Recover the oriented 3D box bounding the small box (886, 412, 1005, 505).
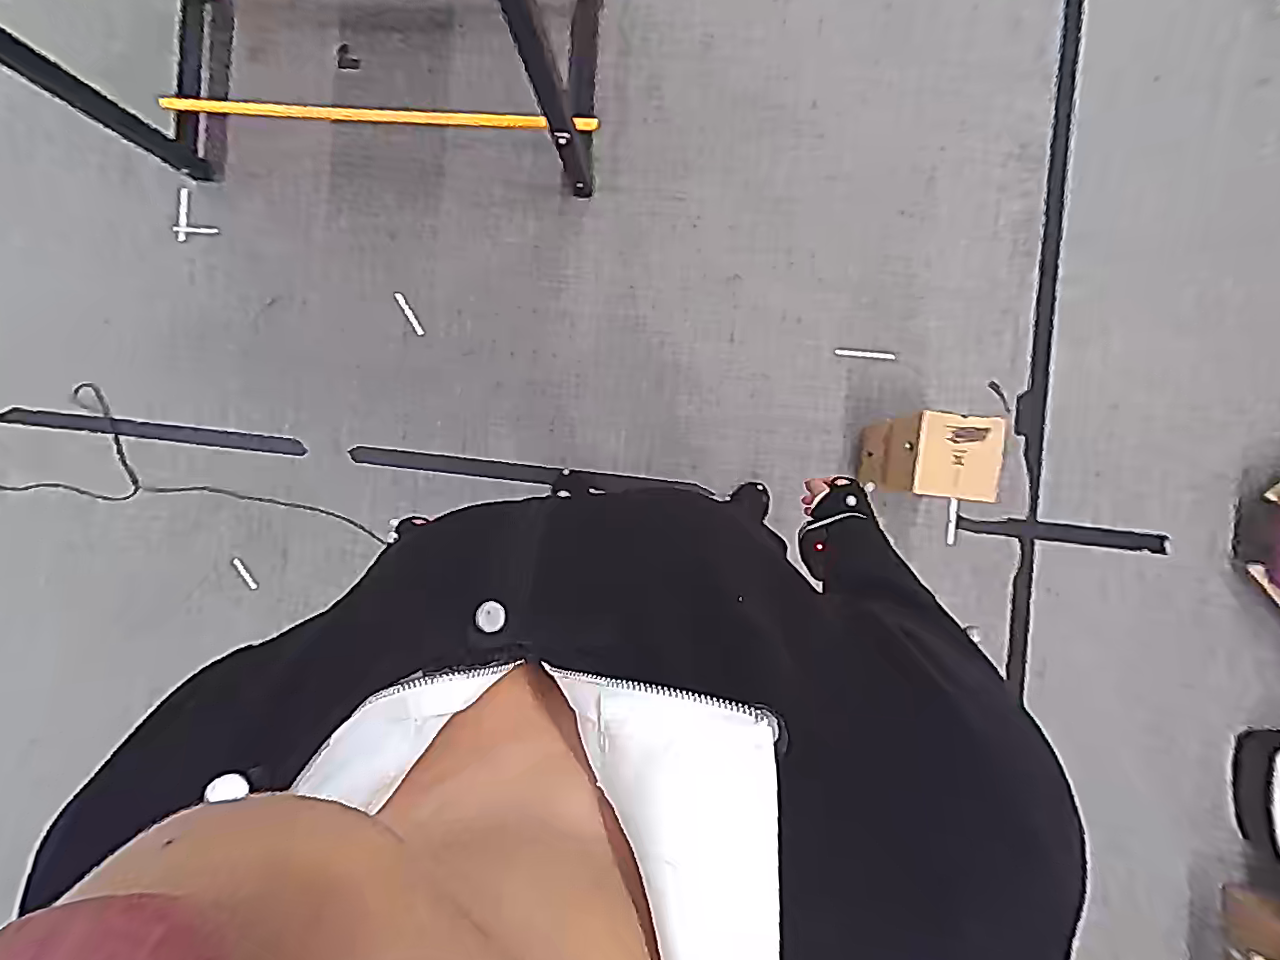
[{"bbox_3d":[0.660,-0.045,1.188,0.168,0.176,0.179,7,91,4],"label":"small box"}]

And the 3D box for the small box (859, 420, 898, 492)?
[{"bbox_3d":[0.666,-0.050,1.354,0.179,0.176,0.168,8,91,5],"label":"small box"}]
